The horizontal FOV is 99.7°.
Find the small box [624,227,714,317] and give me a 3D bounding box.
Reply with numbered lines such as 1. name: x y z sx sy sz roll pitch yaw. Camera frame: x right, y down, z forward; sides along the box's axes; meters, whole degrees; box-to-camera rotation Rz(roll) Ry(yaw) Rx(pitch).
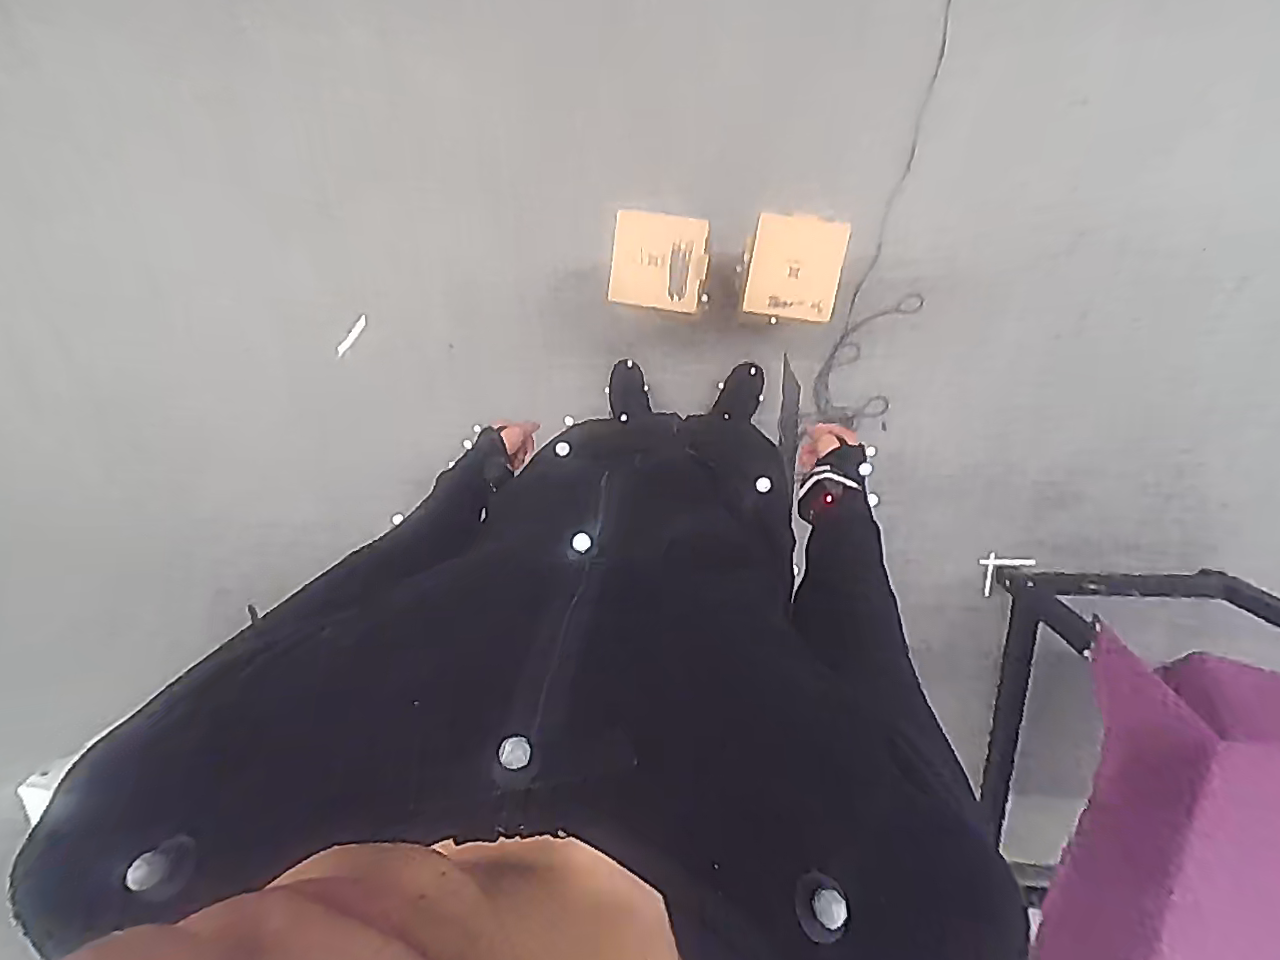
1. small box: 0.070 -0.473 1.249 0.179 0.176 0.168 10 106 5

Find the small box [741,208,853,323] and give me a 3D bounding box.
1. small box: 0.298 -0.414 1.067 0.168 0.176 0.179 10 105 5
